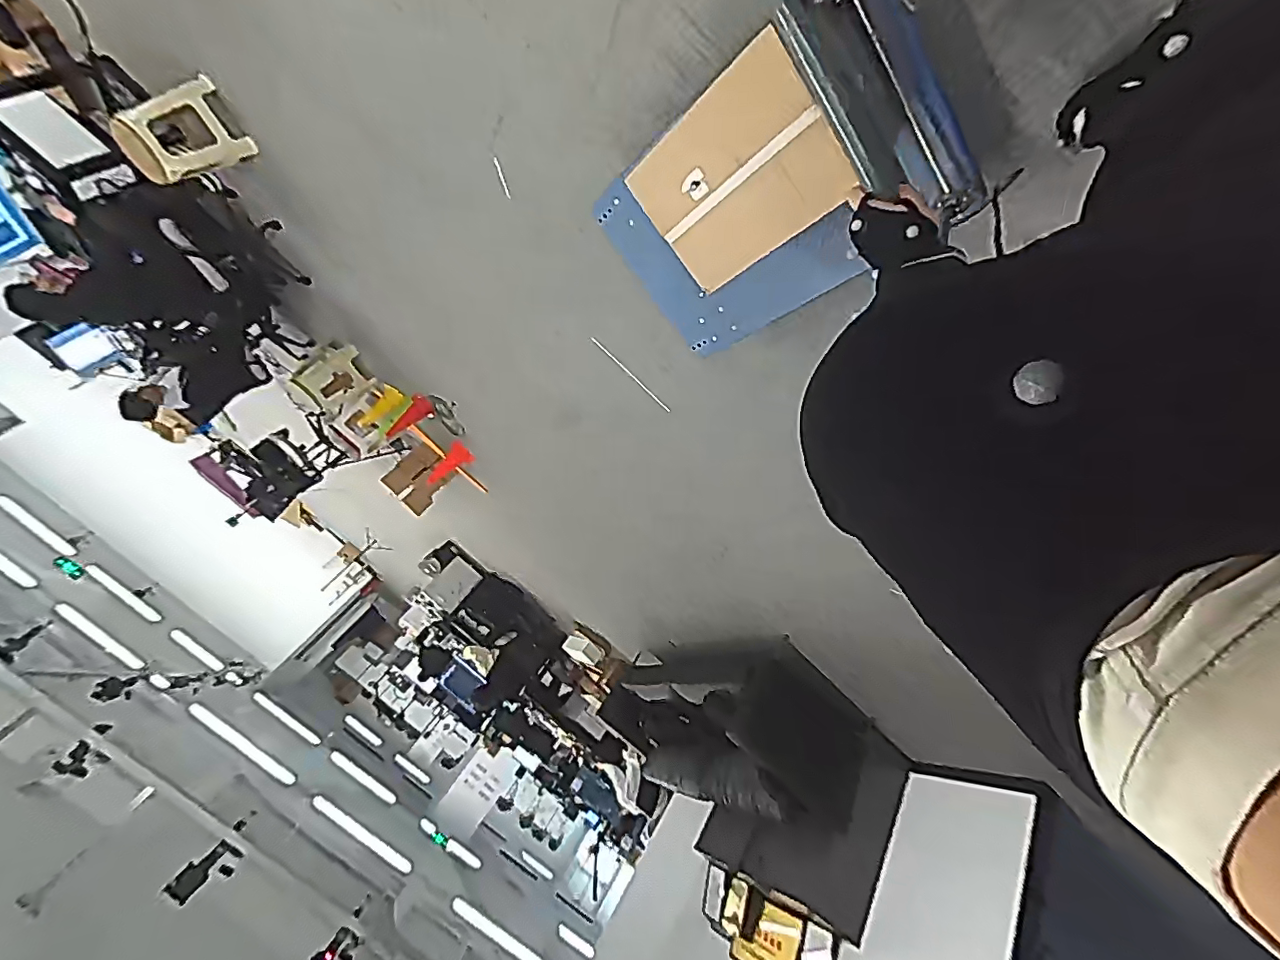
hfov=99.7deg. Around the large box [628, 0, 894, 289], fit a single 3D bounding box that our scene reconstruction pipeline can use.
[{"bbox_3d":[0.257,-0.699,1.157,0.320,0.320,0.408,49,141,-17],"label":"large box"}]
